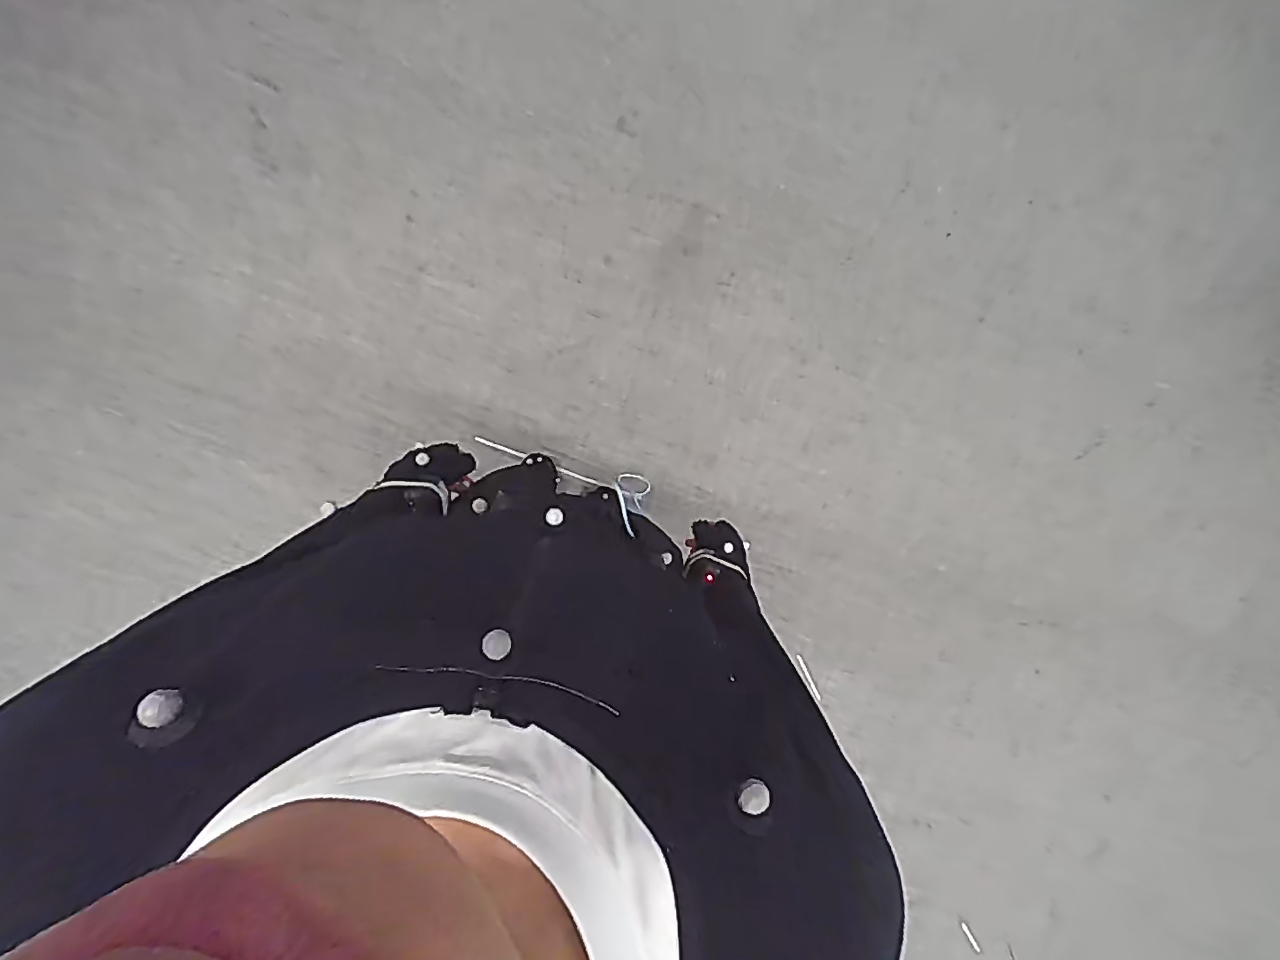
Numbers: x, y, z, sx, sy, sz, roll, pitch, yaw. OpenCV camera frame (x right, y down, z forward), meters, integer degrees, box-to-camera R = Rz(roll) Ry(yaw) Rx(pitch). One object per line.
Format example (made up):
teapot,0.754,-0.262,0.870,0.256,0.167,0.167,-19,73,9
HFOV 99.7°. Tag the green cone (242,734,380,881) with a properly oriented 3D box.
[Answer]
green cone,-0.810,0.799,1.279,0.202,0.368,0.200,19,90,-4
